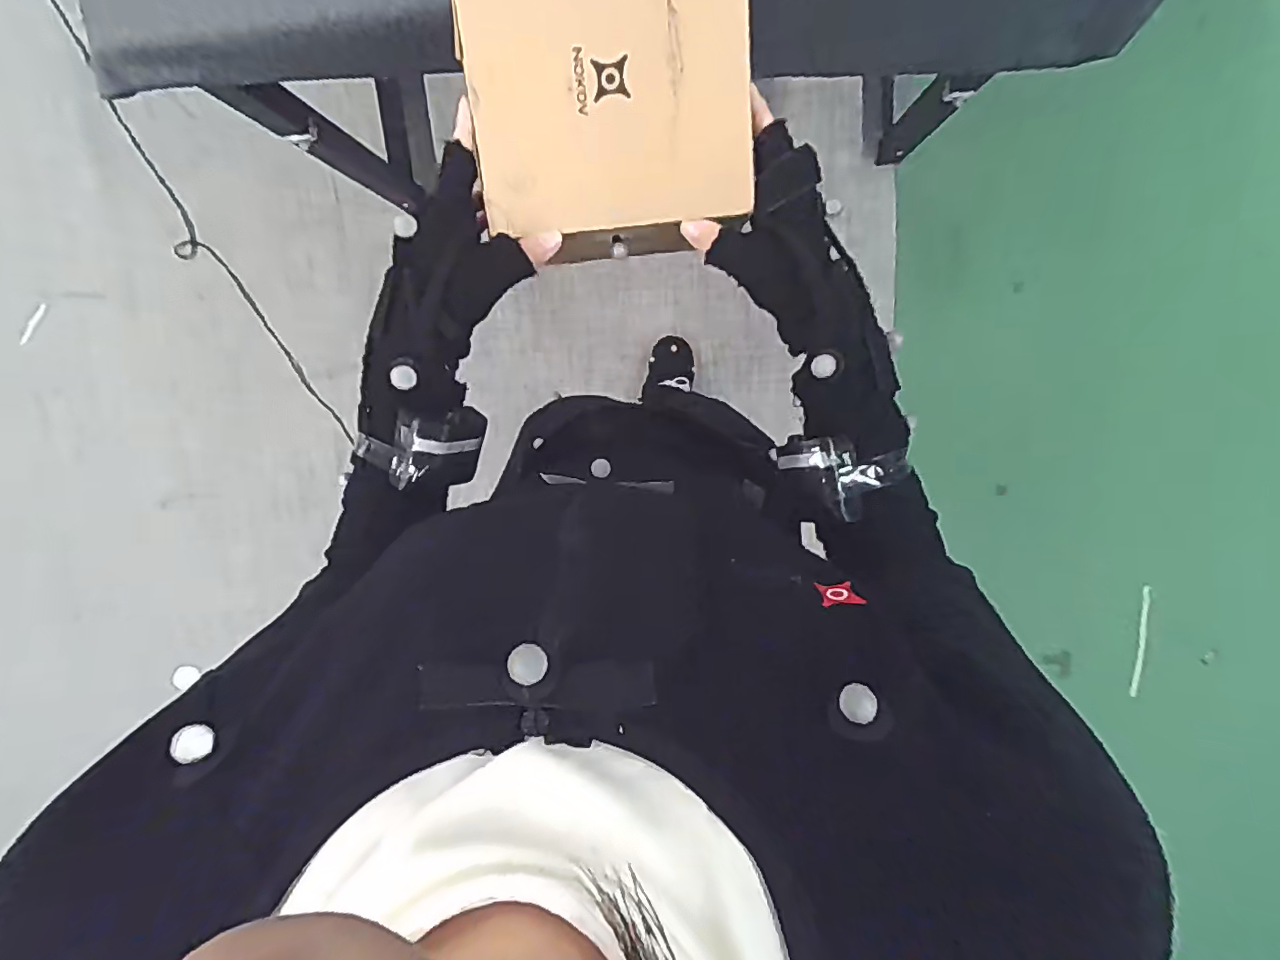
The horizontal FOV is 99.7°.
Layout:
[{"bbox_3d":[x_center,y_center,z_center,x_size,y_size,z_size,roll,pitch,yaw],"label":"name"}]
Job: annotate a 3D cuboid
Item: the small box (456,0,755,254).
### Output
[{"bbox_3d":[-0.016,-0.272,0.405,0.179,0.176,0.168,-5,108,4],"label":"small box"}]
